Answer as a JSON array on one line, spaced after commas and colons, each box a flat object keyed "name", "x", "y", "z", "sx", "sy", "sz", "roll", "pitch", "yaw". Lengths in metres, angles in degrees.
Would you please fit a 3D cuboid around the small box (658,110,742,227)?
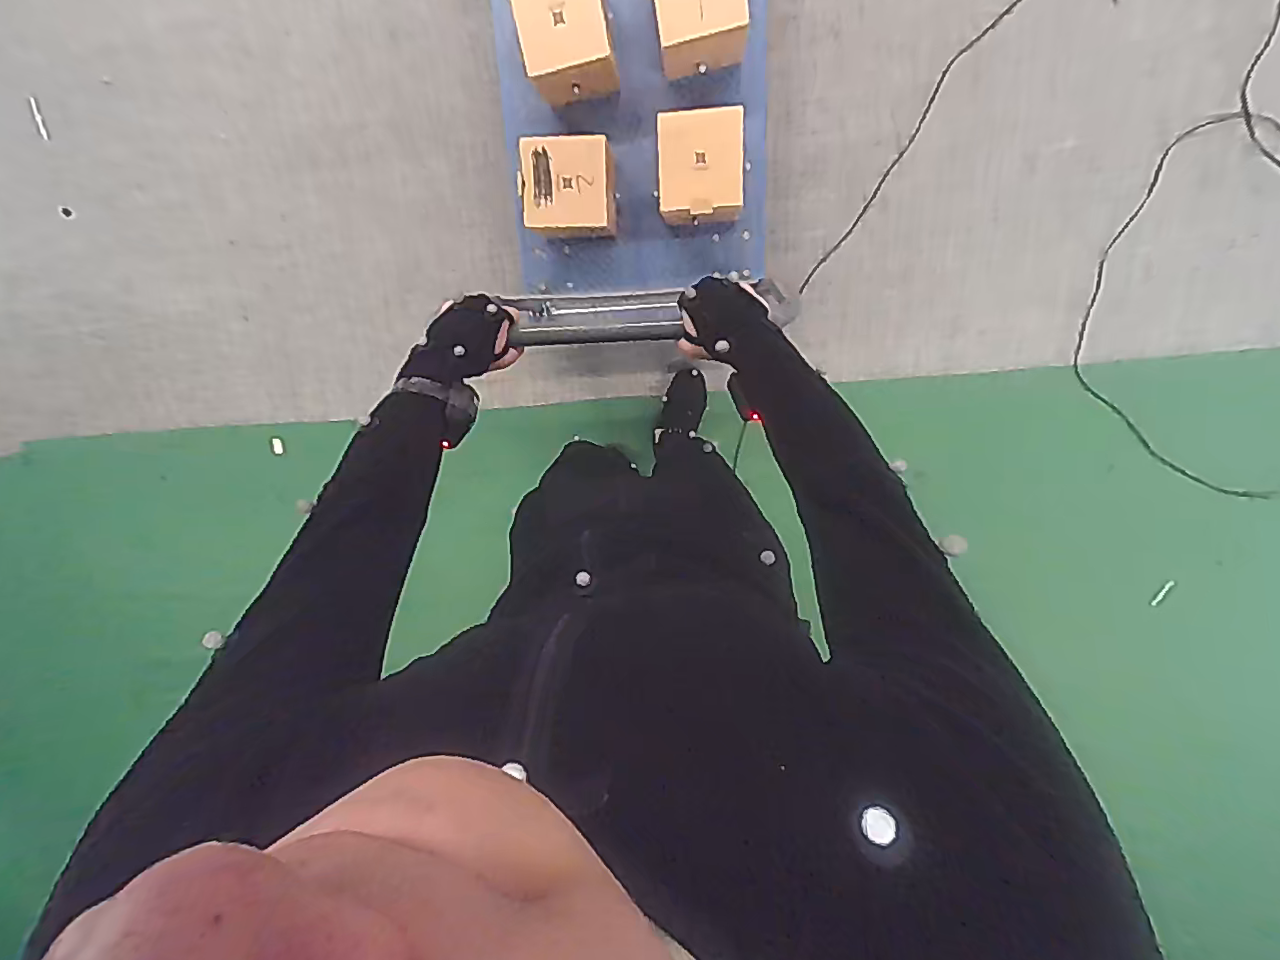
[{"name": "small box", "x": 0.123, "y": -0.643, "z": 1.134, "sx": 0.168, "sy": 0.176, "sz": 0.179, "roll": -2, "pitch": 108, "yaw": 6}]

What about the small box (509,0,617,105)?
[{"name": "small box", "x": -0.148, "y": -0.883, "z": 1.081, "sx": 0.168, "sy": 0.176, "sz": 0.179, "roll": -9, "pitch": 106, "yaw": 7}]

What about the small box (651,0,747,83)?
[{"name": "small box", "x": 0.108, "y": -0.916, "z": 1.047, "sx": 0.168, "sy": 0.176, "sz": 0.179, "roll": -8, "pitch": 107, "yaw": 8}]
